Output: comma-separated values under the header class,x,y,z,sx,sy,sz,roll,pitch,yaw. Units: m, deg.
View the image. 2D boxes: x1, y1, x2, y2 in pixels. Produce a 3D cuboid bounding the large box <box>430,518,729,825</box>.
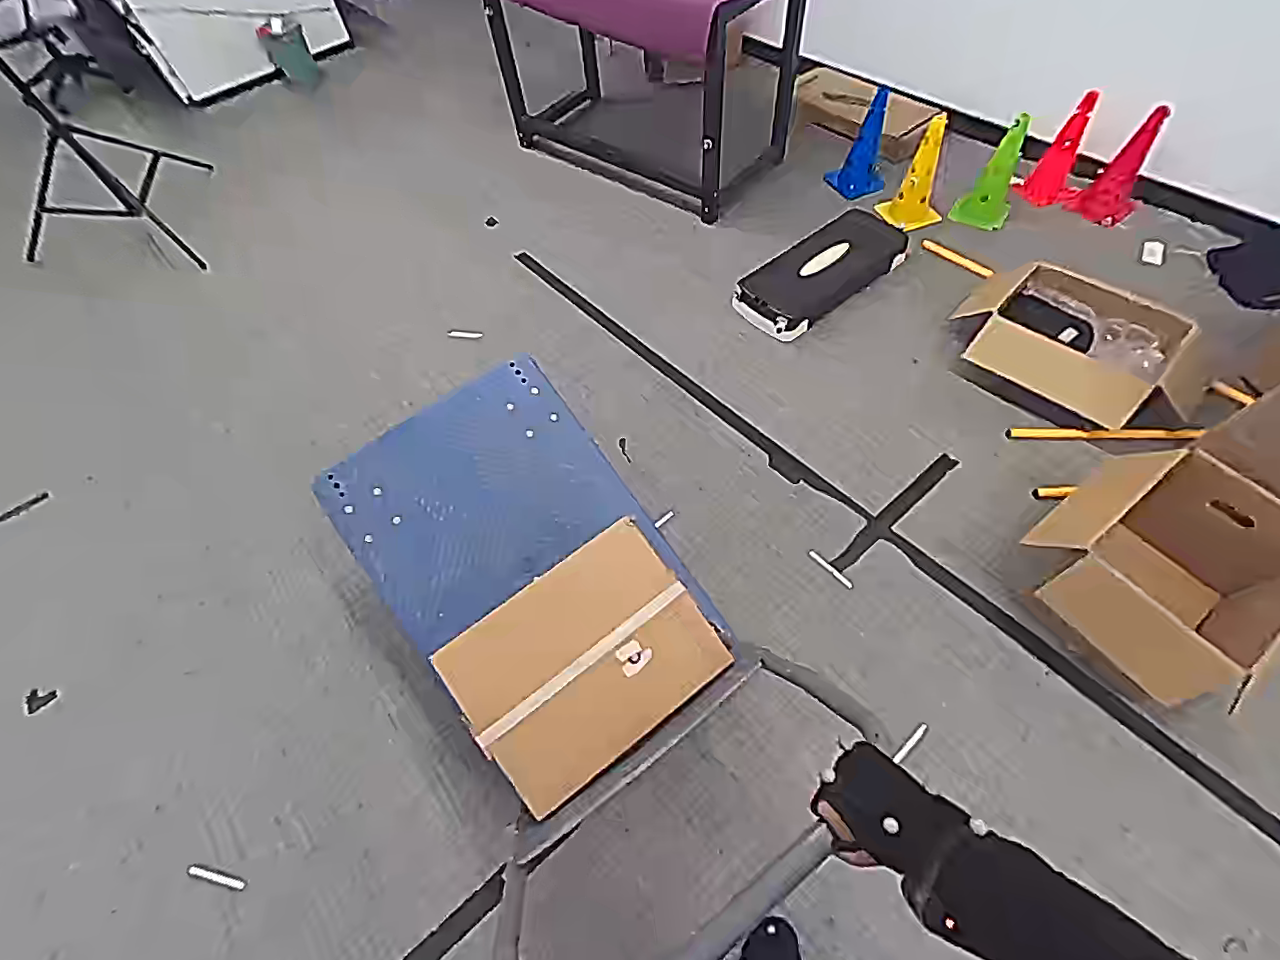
class,x,y,z,sx,sy,sz,roll,pitch,yaw
large box,-0.109,0.333,1.029,0.408,0.320,0.320,-36,84,-13
